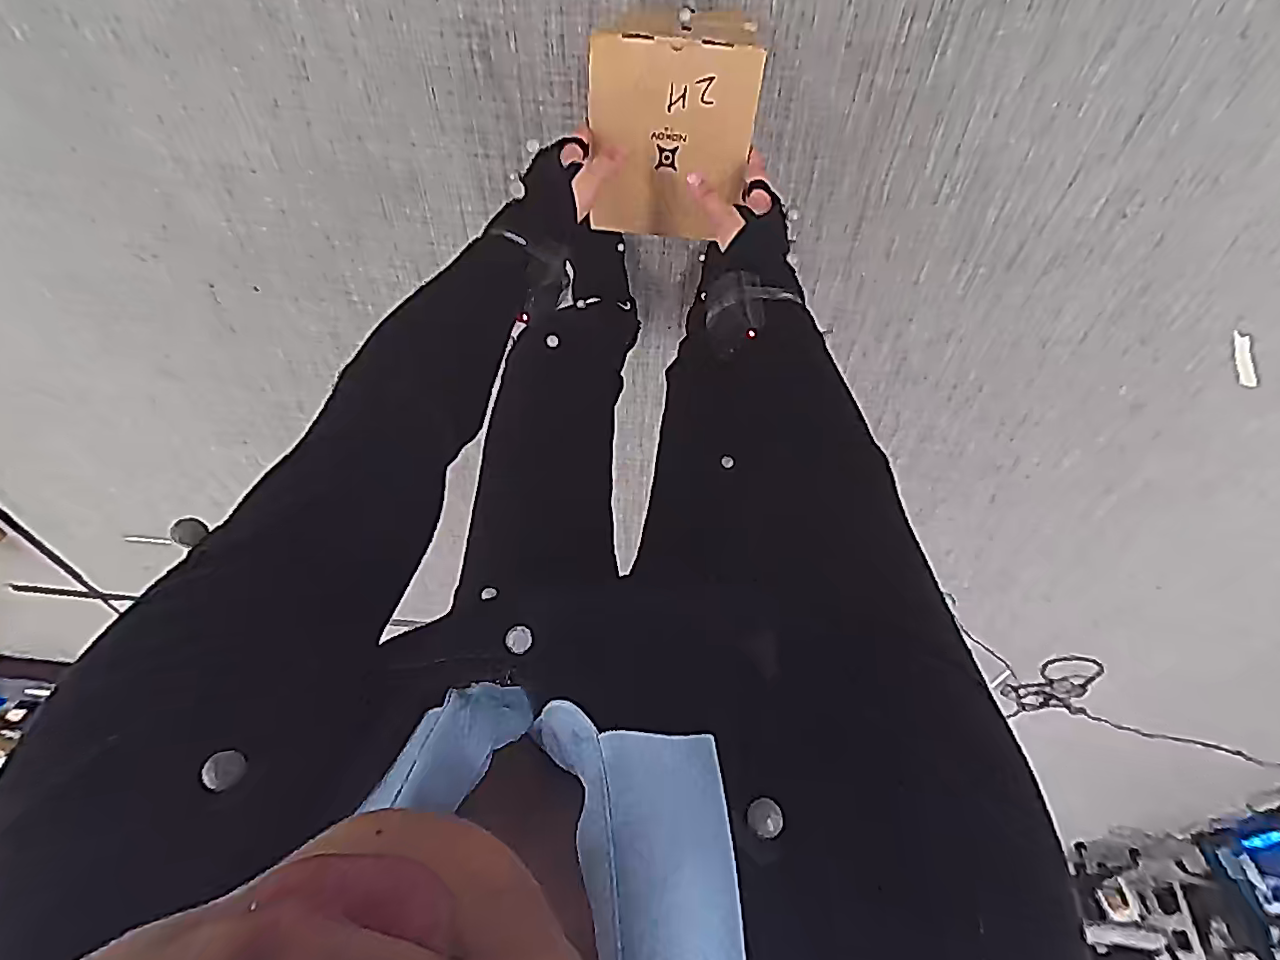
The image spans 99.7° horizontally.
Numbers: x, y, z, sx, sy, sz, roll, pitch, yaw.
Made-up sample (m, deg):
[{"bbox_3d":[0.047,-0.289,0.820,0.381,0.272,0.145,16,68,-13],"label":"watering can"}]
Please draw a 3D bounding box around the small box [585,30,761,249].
[{"bbox_3d":[0.035,-0.383,0.606,0.168,0.176,0.179,6,132,3],"label":"small box"}]
